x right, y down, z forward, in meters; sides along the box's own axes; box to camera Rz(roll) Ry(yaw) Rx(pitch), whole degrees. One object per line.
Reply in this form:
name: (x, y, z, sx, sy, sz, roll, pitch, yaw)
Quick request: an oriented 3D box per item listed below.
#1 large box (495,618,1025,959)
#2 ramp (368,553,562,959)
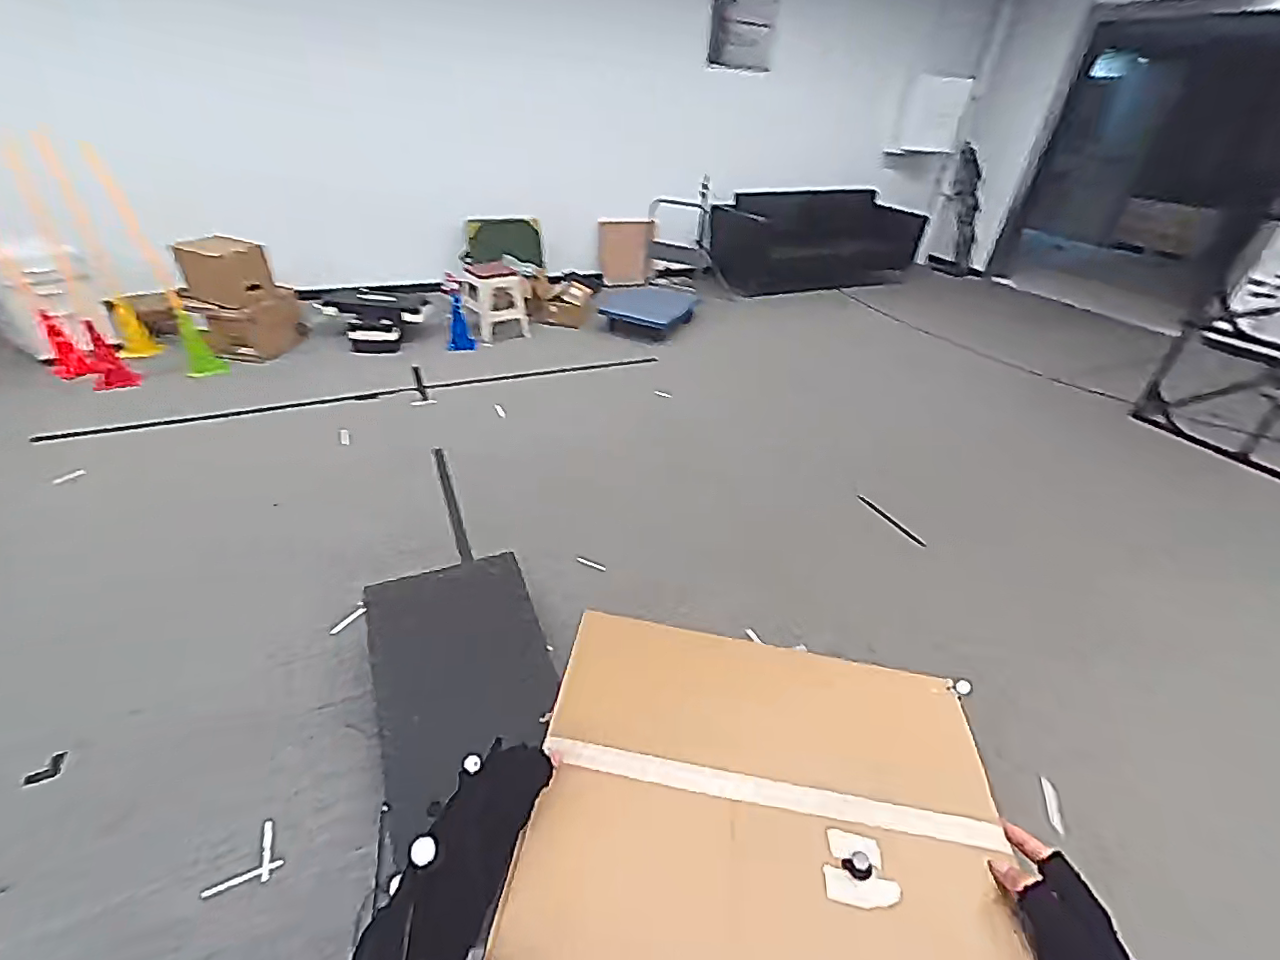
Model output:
large box: (0.091, 0.394, 0.580, 0.408, 0.320, 0.320, 10, 38, 2)
ramp: (-0.451, 0.645, 1.526, 0.509, 0.206, 0.991, -13, 38, -25)
